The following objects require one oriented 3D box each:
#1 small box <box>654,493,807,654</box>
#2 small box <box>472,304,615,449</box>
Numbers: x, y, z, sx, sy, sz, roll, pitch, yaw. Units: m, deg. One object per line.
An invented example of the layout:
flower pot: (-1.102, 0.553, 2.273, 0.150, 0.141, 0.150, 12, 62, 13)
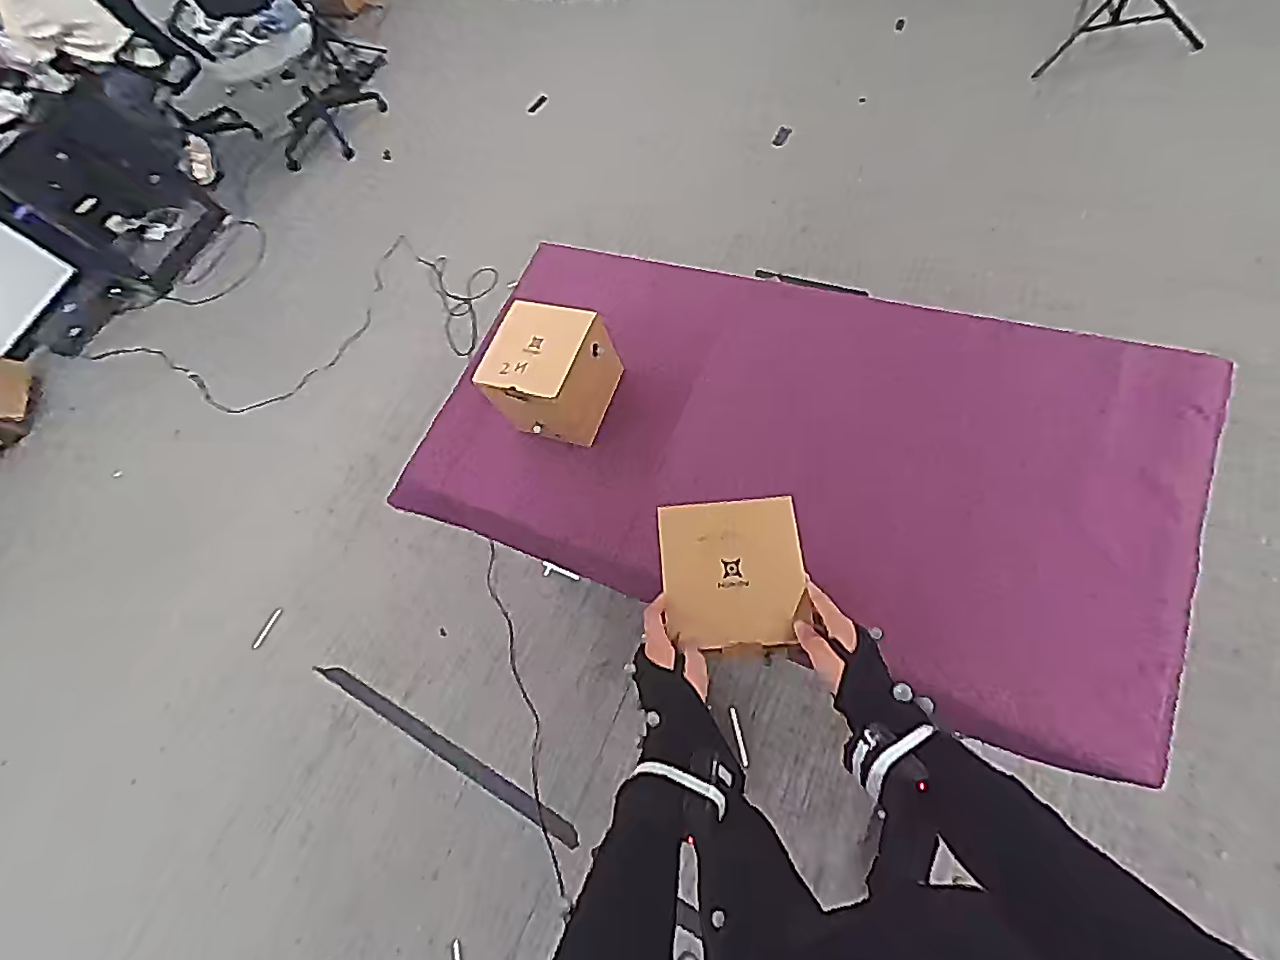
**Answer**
small box: (0.109, 0.131, 0.705, 0.168, 0.176, 0.179, -5, 68, 4)
small box: (-0.158, -0.181, 0.963, 0.168, 0.176, 0.179, 15, 72, 21)
